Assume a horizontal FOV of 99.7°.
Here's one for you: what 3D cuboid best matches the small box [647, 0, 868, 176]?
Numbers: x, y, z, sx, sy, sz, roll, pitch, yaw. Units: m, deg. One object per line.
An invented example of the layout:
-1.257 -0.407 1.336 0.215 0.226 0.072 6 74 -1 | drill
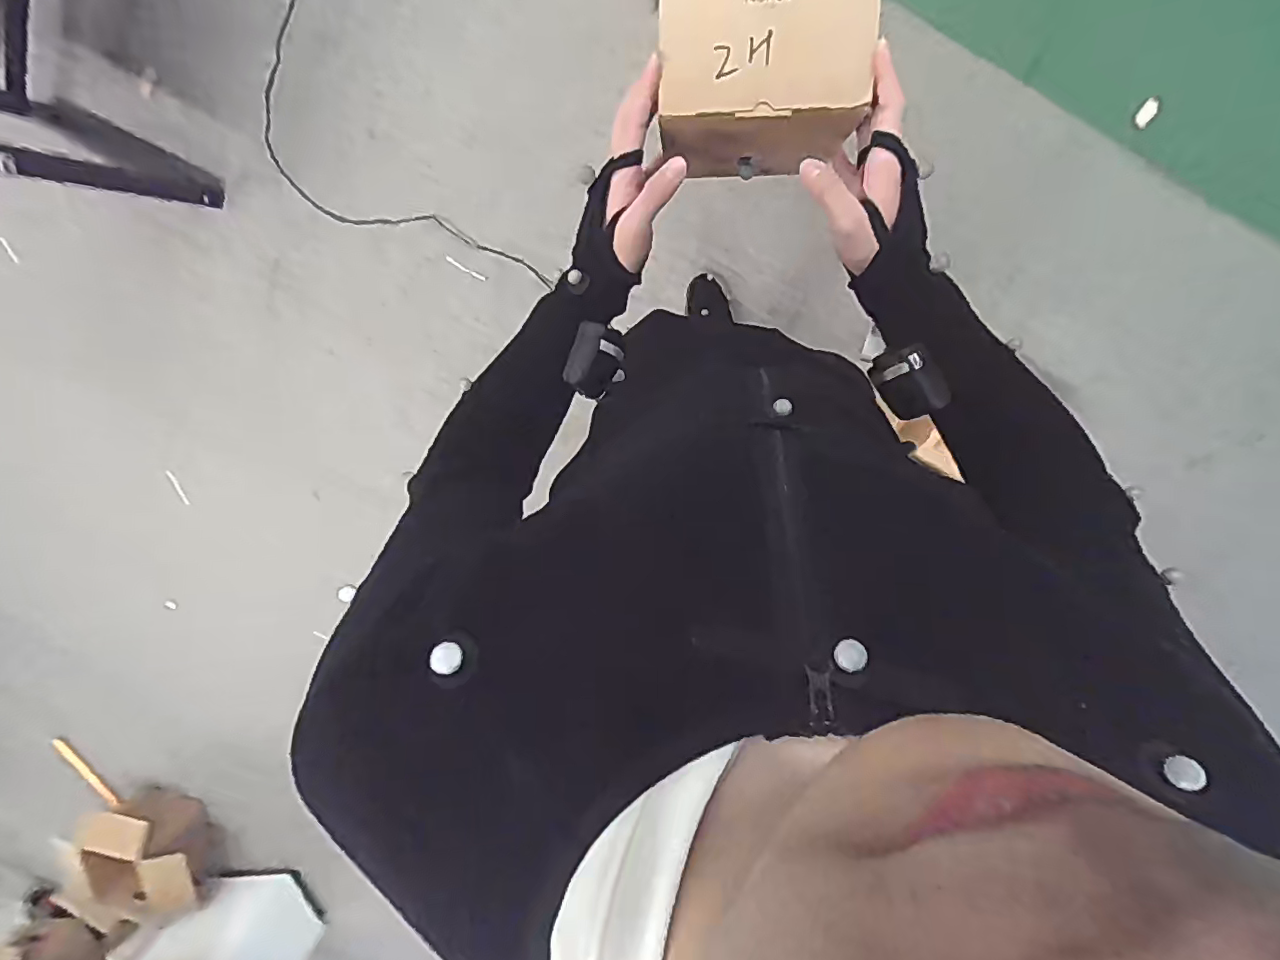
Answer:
0.094 -0.392 0.478 0.168 0.176 0.179 1 104 5 | small box
